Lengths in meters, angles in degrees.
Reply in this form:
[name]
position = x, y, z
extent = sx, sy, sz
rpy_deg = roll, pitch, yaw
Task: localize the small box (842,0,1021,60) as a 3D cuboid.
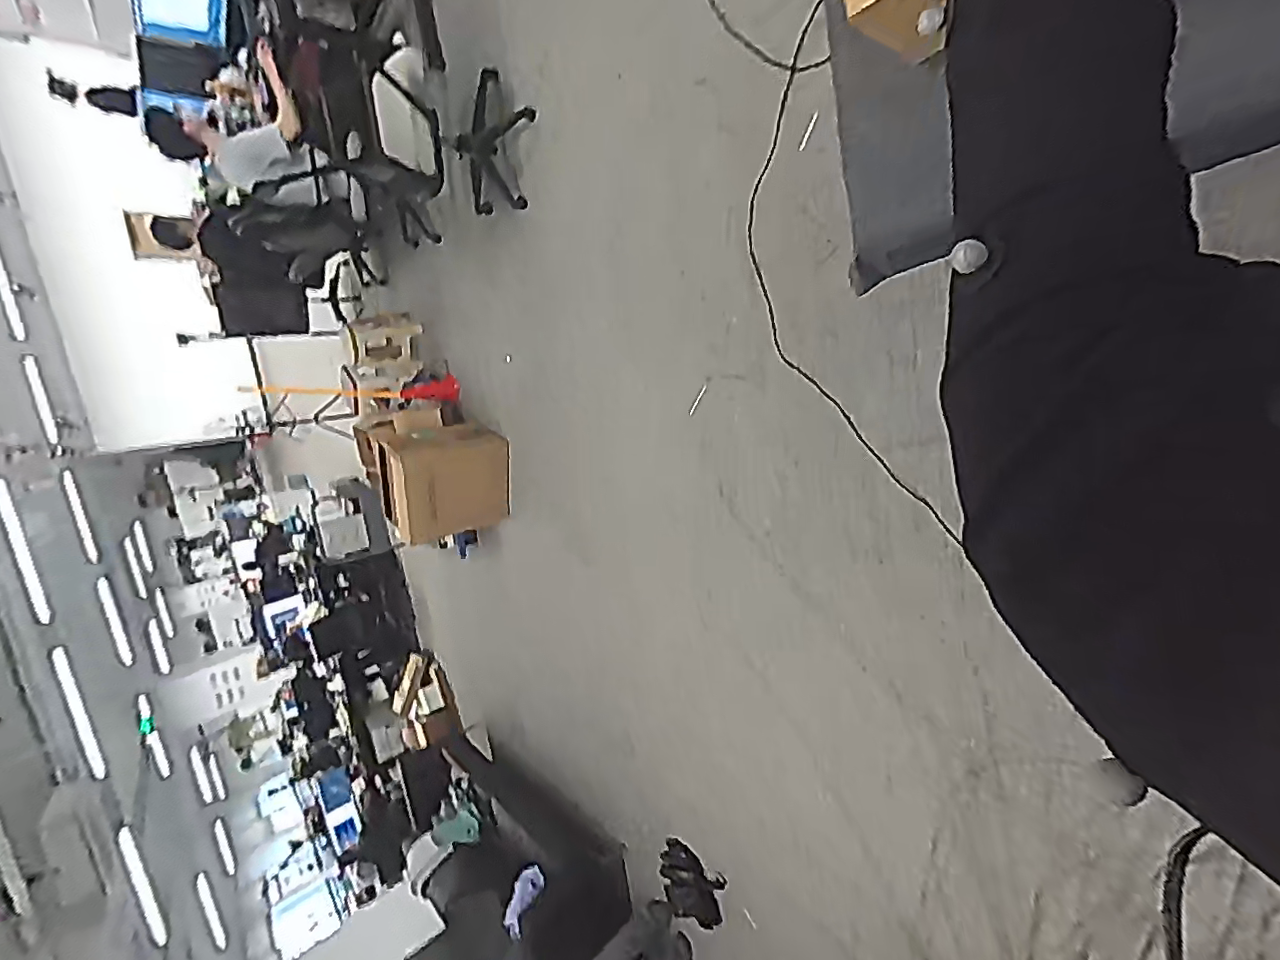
[small box]
position = 0.312, -0.567, 0.534
extent = 0.179, 0.176, 0.168
rpy_deg = -5, 100, 49
